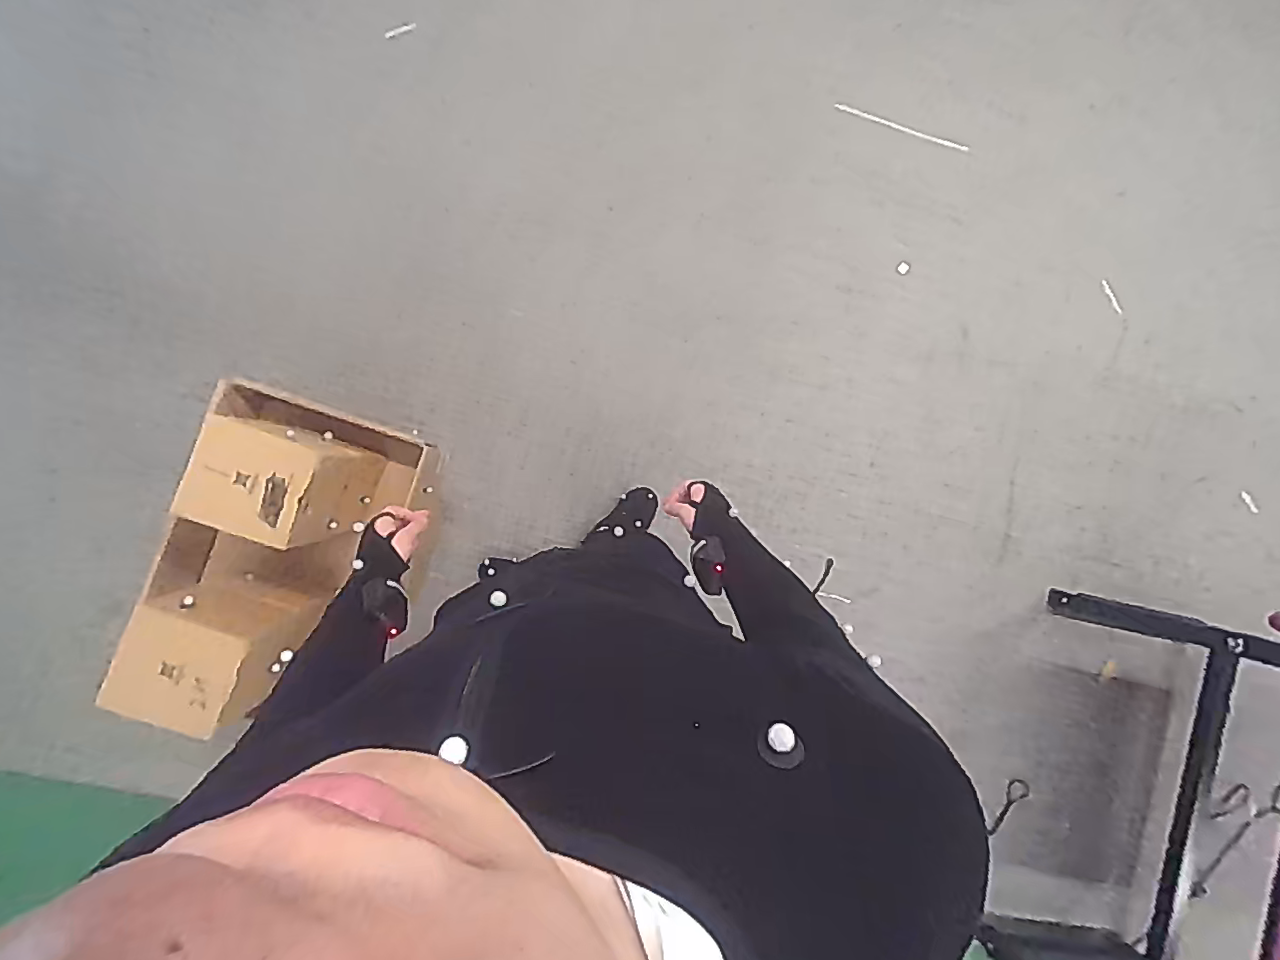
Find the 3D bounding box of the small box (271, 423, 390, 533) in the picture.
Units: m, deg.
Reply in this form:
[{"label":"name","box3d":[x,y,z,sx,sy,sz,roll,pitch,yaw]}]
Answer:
[{"label":"small box","box3d":[-0.638,-0.001,1.088,0.179,0.176,0.168,19,88,-7]}]

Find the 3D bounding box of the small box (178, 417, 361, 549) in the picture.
[{"label":"small box","box3d":[-0.615,0.004,0.925,0.179,0.176,0.168,21,87,-6]}]

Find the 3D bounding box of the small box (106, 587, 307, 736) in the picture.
[{"label":"small box","box3d":[-0.715,0.293,0.915,0.179,0.176,0.168,22,89,-6]}]
